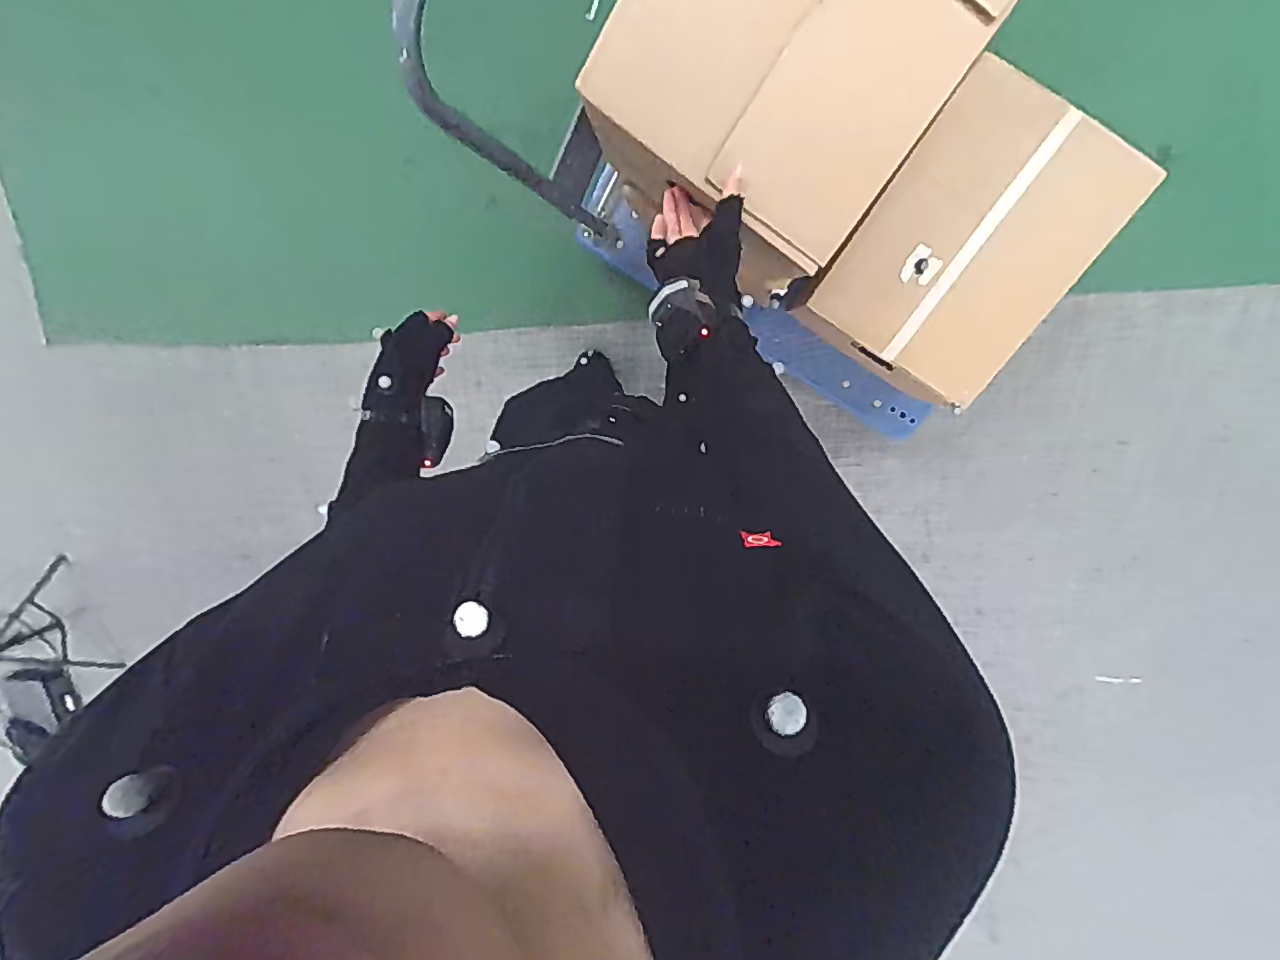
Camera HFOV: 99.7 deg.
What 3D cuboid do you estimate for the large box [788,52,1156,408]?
[{"bbox_3d":[0.517,-0.397,0.948,0.320,0.320,0.408,34,109,-1],"label":"large box"}]
